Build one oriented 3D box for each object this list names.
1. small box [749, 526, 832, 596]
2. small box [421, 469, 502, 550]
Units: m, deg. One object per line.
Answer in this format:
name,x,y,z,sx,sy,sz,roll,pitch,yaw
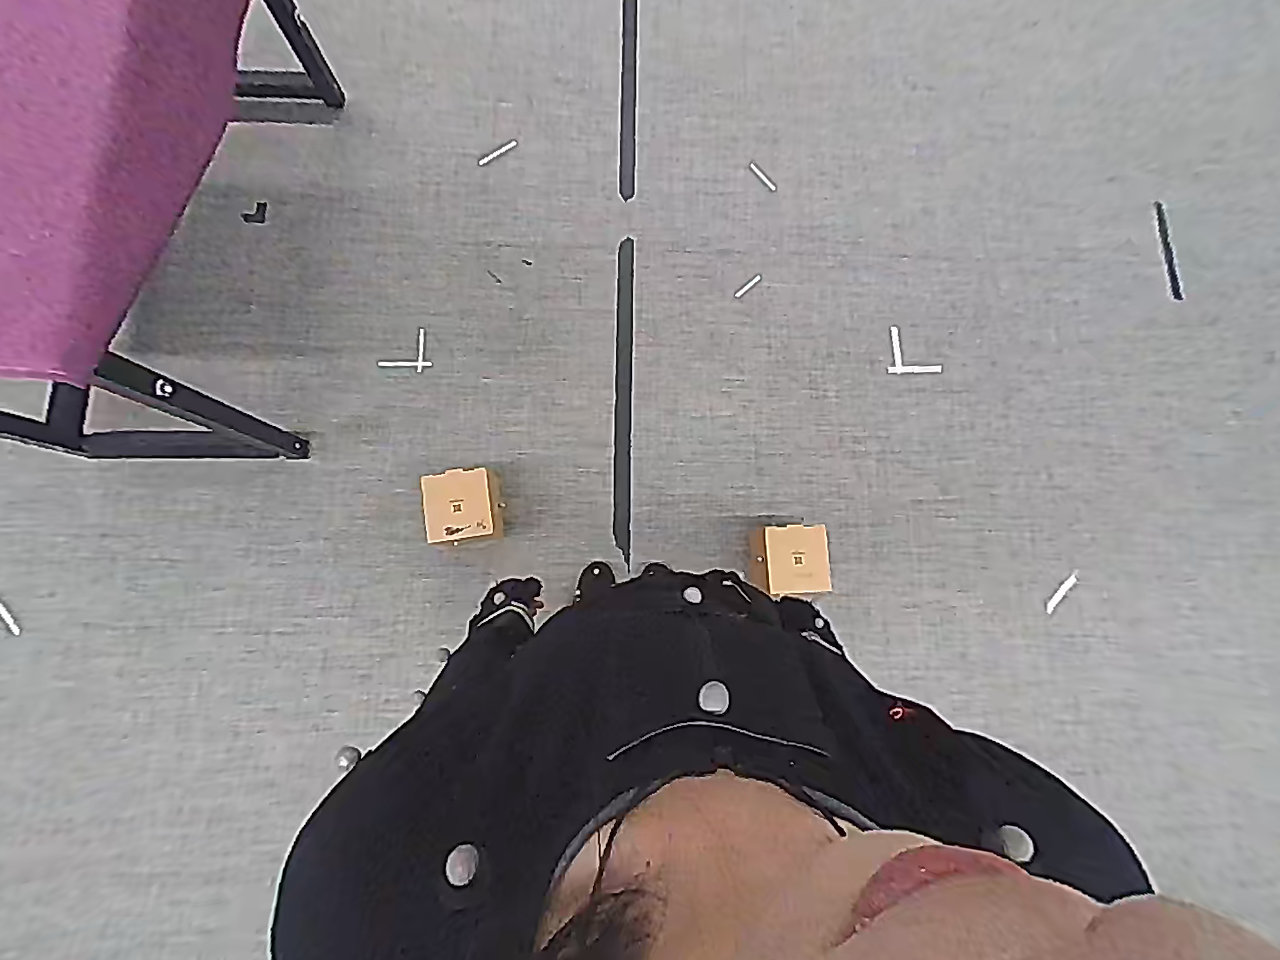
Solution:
small box,0.402,0.223,1.474,0.168,0.176,0.179,-3,81,-3
small box,-0.469,0.083,1.434,0.168,0.176,0.179,-8,80,-5
